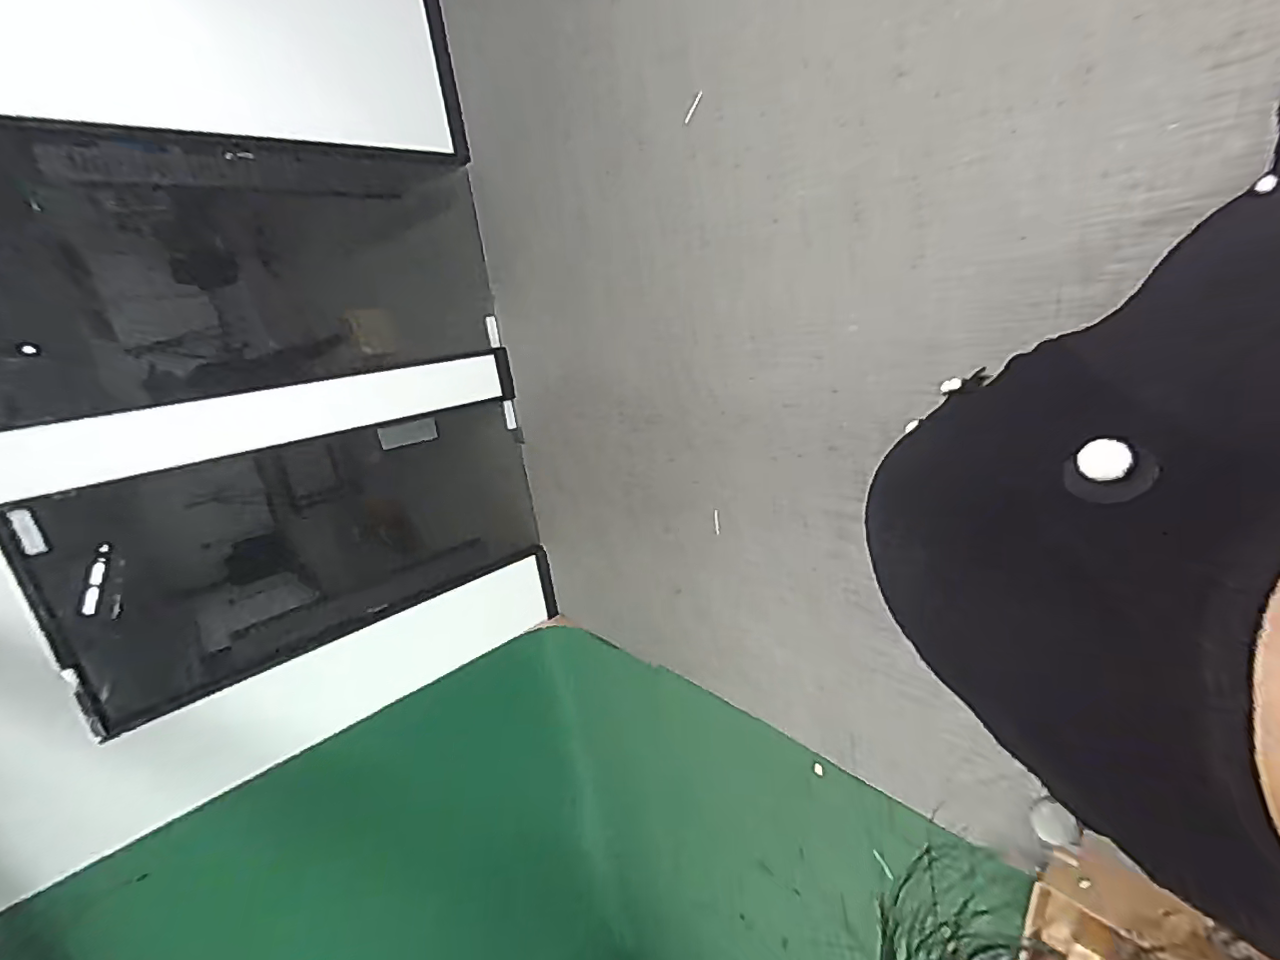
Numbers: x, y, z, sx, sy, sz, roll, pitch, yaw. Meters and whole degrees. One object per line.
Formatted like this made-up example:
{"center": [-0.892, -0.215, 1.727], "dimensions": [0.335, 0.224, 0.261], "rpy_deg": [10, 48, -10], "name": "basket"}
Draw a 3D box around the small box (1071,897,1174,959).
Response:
{"center": [1.180, 1.193, 1.331], "dimensions": [0.168, 0.176, 0.179], "rpy_deg": [17, 117, 45], "name": "small box"}
